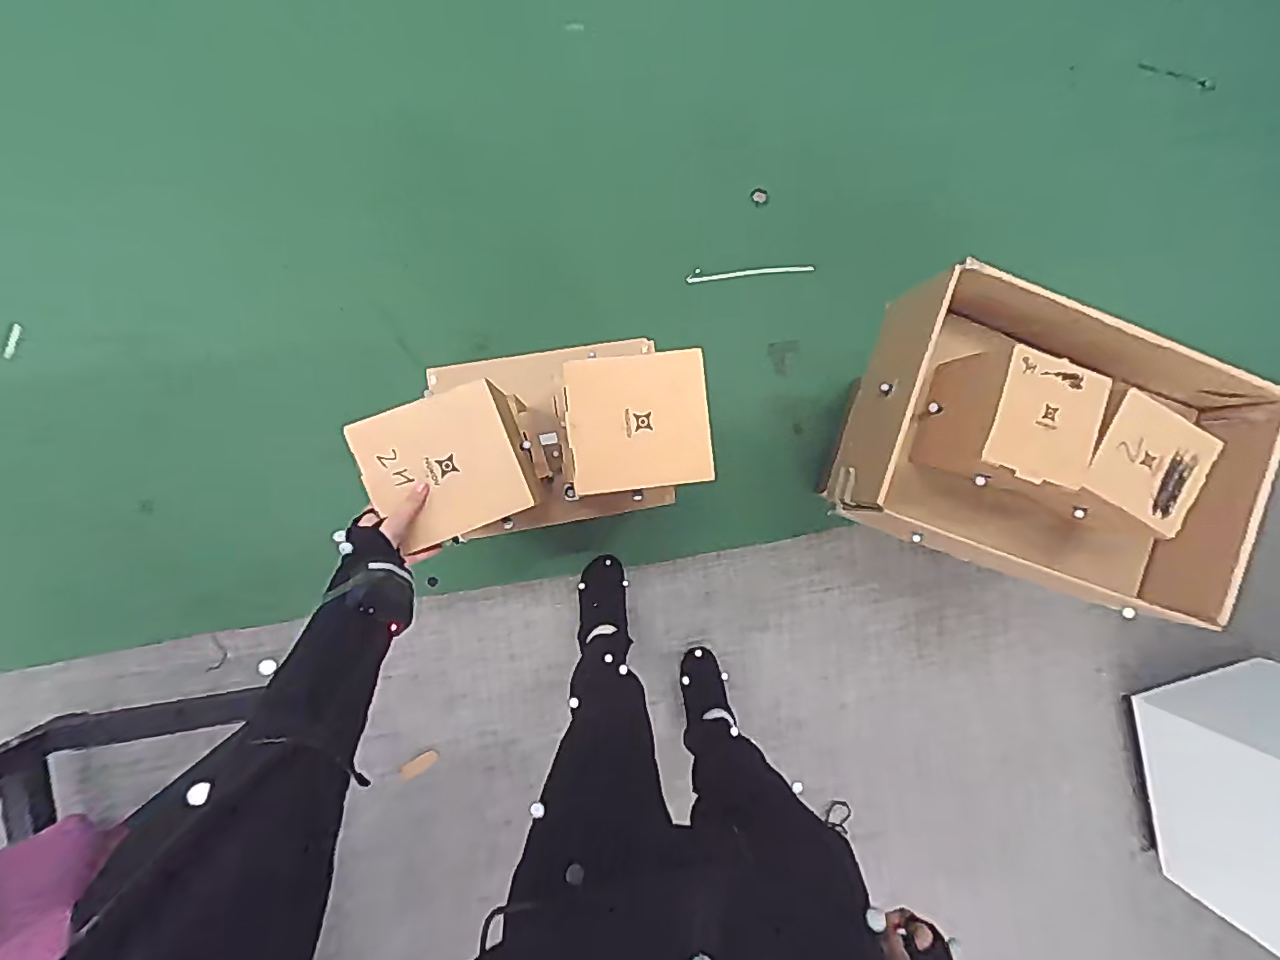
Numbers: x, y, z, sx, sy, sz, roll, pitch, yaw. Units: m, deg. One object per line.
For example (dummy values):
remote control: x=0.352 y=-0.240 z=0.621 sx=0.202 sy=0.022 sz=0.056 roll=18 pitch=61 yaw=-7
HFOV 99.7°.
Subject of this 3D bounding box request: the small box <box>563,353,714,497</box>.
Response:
small box: x=-0.008 y=-0.073 z=0.742 sx=0.179 sy=0.176 sz=0.168 roll=-7 pitch=93 yaw=-4
